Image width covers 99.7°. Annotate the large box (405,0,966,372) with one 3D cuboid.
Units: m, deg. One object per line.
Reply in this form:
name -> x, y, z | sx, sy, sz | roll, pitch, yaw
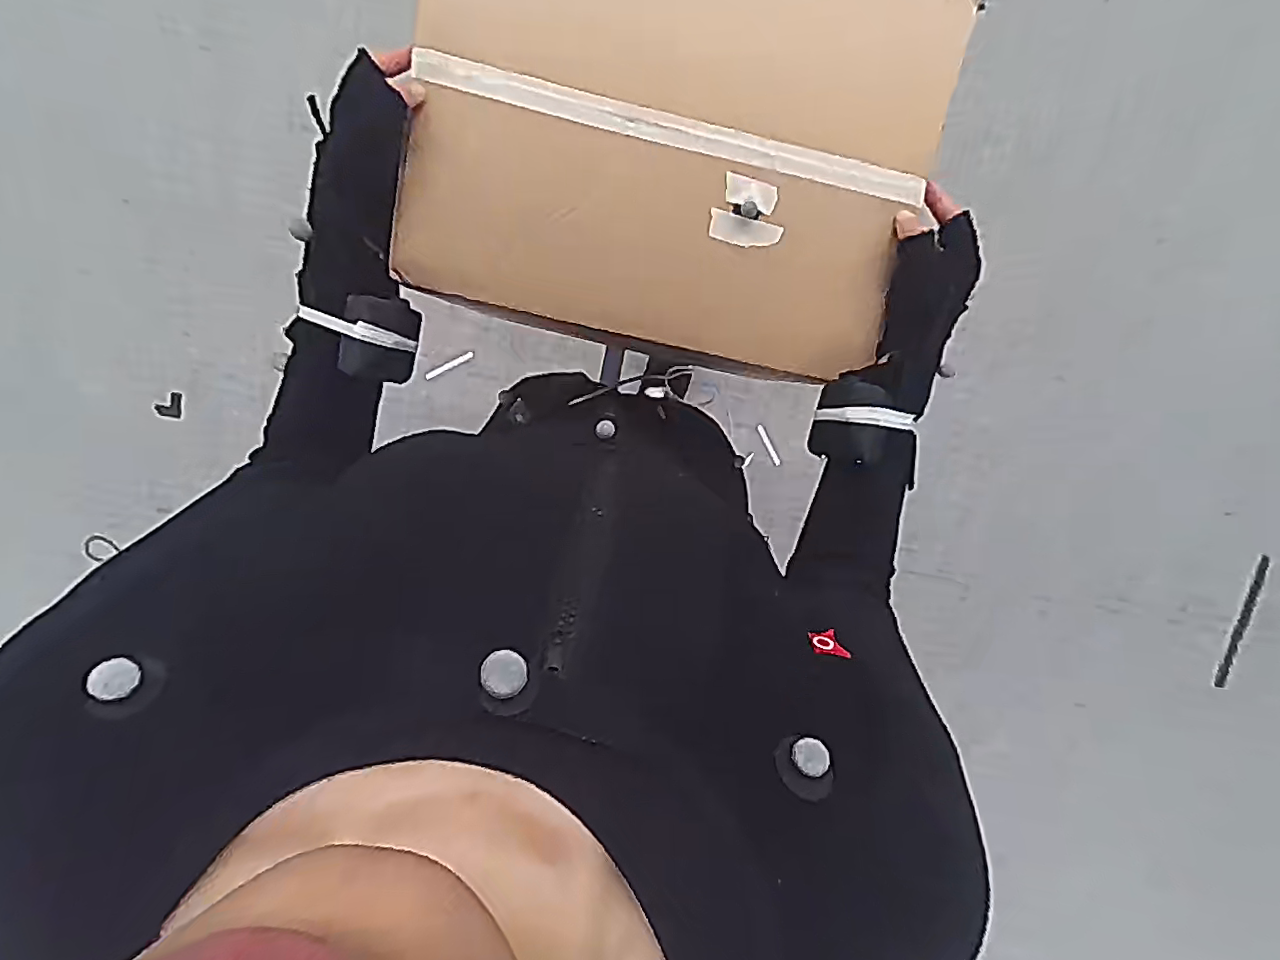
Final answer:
large box -> 0.021, -0.306, 0.570 | 0.408, 0.320, 0.320 | 11, 102, -5
